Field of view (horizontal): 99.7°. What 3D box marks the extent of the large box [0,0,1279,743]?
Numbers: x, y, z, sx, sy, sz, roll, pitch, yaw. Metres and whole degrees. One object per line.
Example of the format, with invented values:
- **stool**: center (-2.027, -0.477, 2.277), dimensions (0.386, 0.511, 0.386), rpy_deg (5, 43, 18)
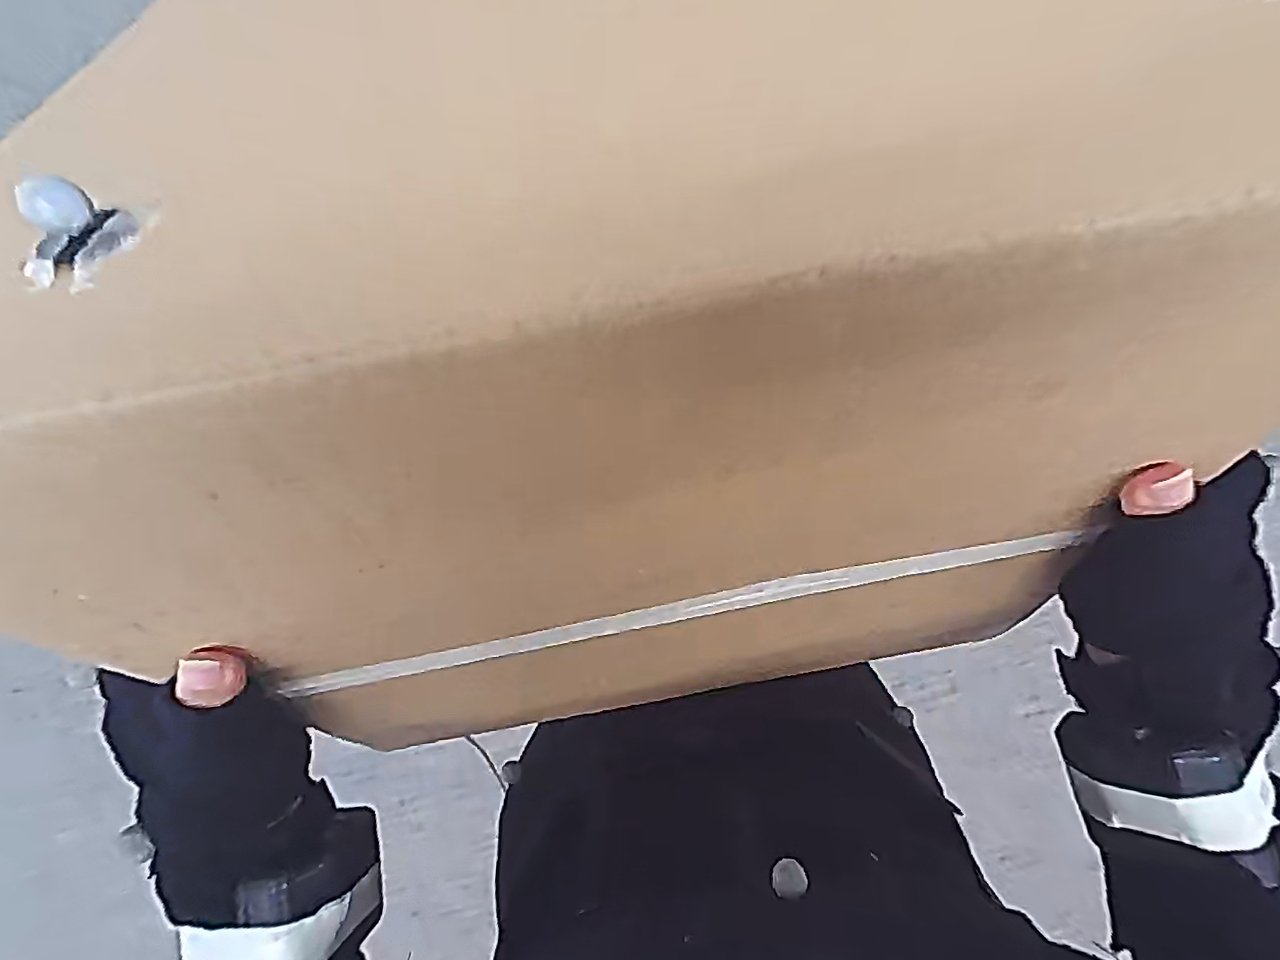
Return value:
- **large box**: center (-0.002, -0.069, 0.326), dimensions (0.408, 0.320, 0.320), rpy_deg (-11, 56, -1)
